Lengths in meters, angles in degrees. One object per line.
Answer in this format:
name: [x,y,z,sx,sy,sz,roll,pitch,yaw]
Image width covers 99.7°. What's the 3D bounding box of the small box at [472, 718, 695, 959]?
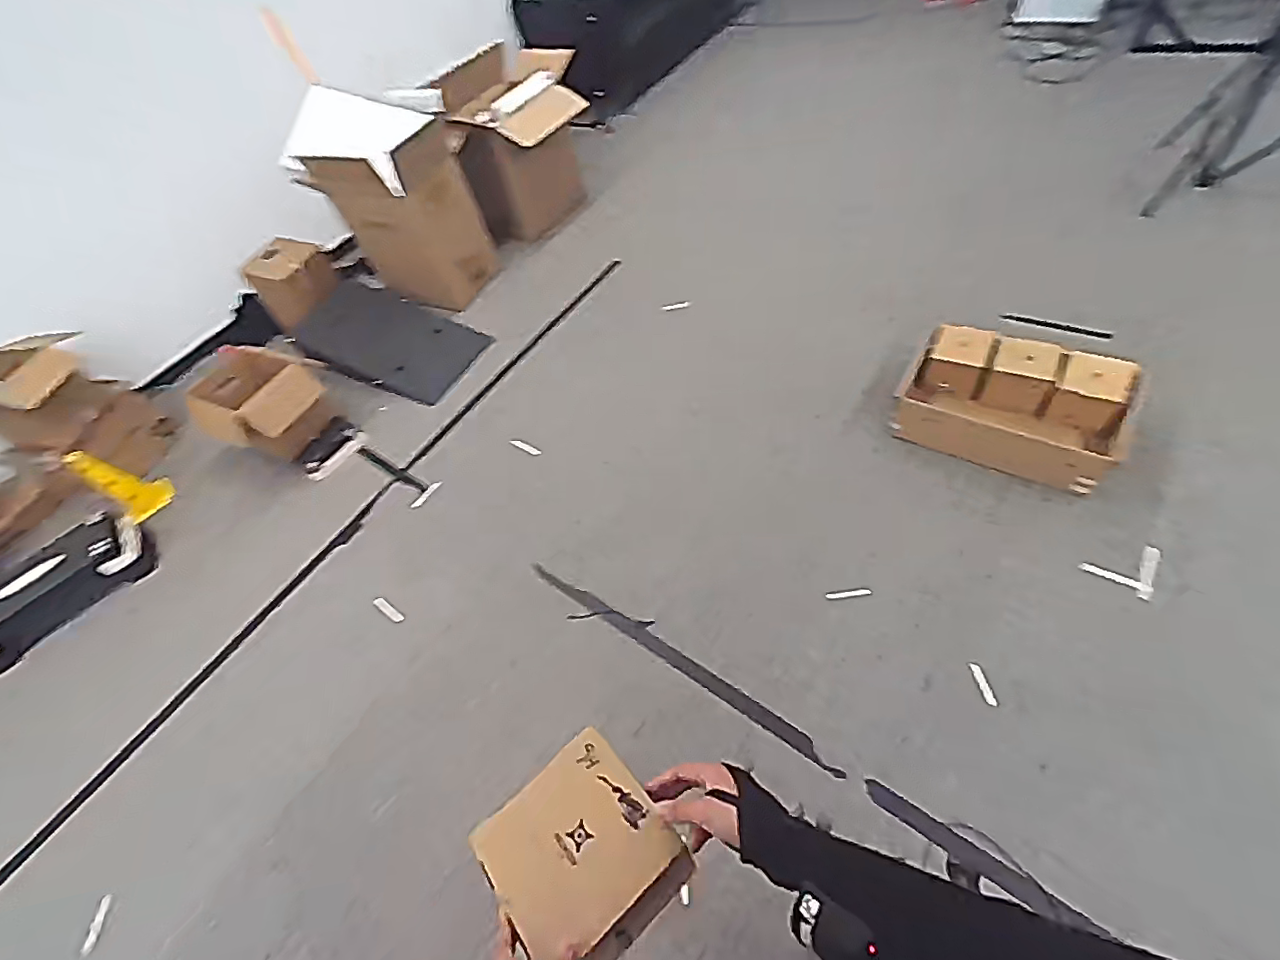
small box: [-0.053,0.420,0.619,0.179,0.176,0.168,-36,52,-20]
